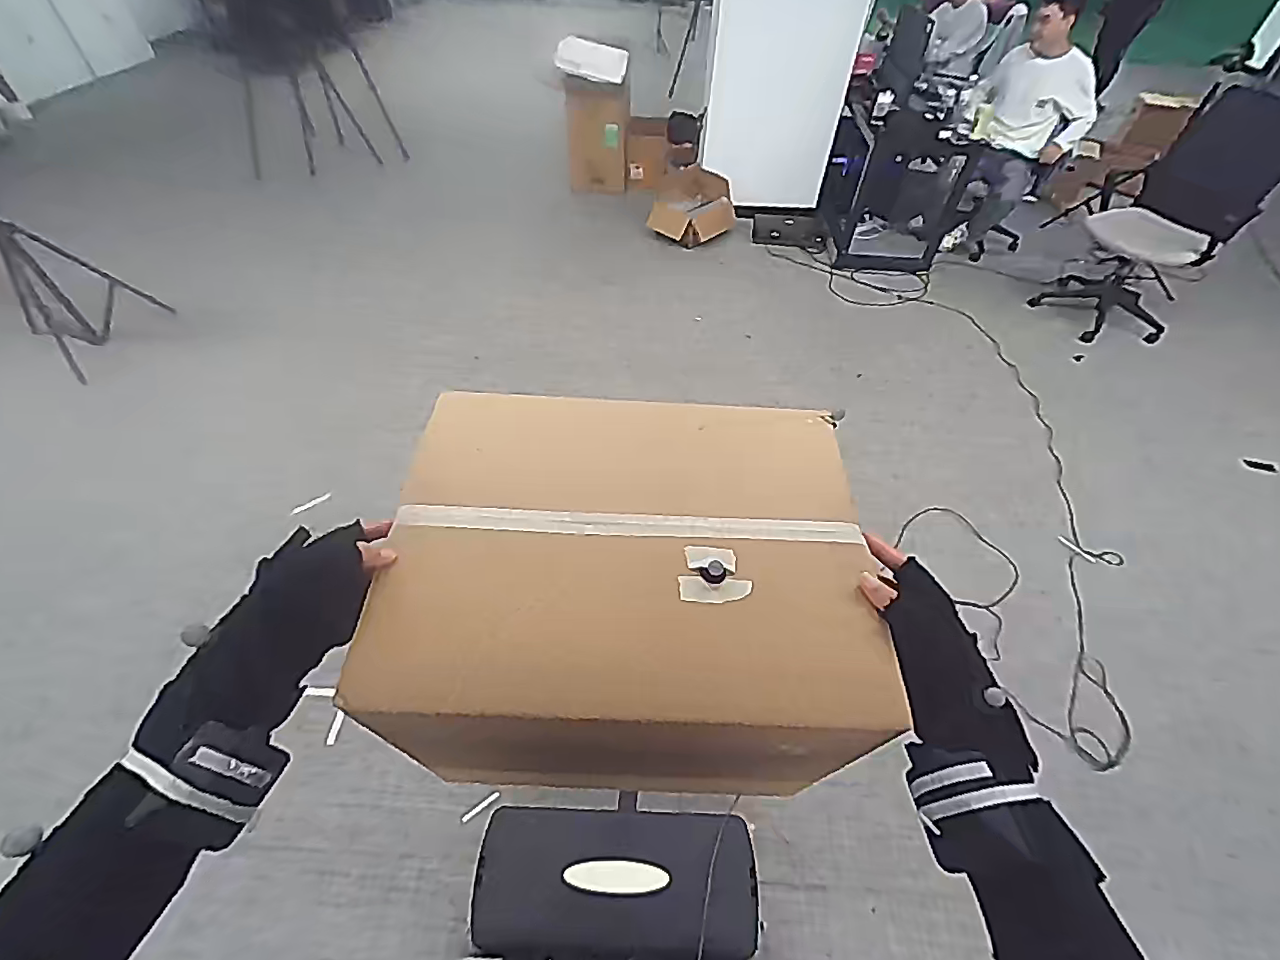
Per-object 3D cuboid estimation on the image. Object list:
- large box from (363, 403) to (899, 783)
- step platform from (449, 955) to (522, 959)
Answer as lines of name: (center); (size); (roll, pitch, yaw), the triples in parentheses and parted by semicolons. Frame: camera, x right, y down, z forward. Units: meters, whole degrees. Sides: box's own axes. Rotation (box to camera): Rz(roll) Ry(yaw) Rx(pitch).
large box: (-0.011, 0.137, 0.601); (0.408, 0.320, 0.320); (3, 53, -2)
step platform: (-0.100, 1.154, 1.082); (0.684, 0.204, 0.286); (1, 49, 1)
